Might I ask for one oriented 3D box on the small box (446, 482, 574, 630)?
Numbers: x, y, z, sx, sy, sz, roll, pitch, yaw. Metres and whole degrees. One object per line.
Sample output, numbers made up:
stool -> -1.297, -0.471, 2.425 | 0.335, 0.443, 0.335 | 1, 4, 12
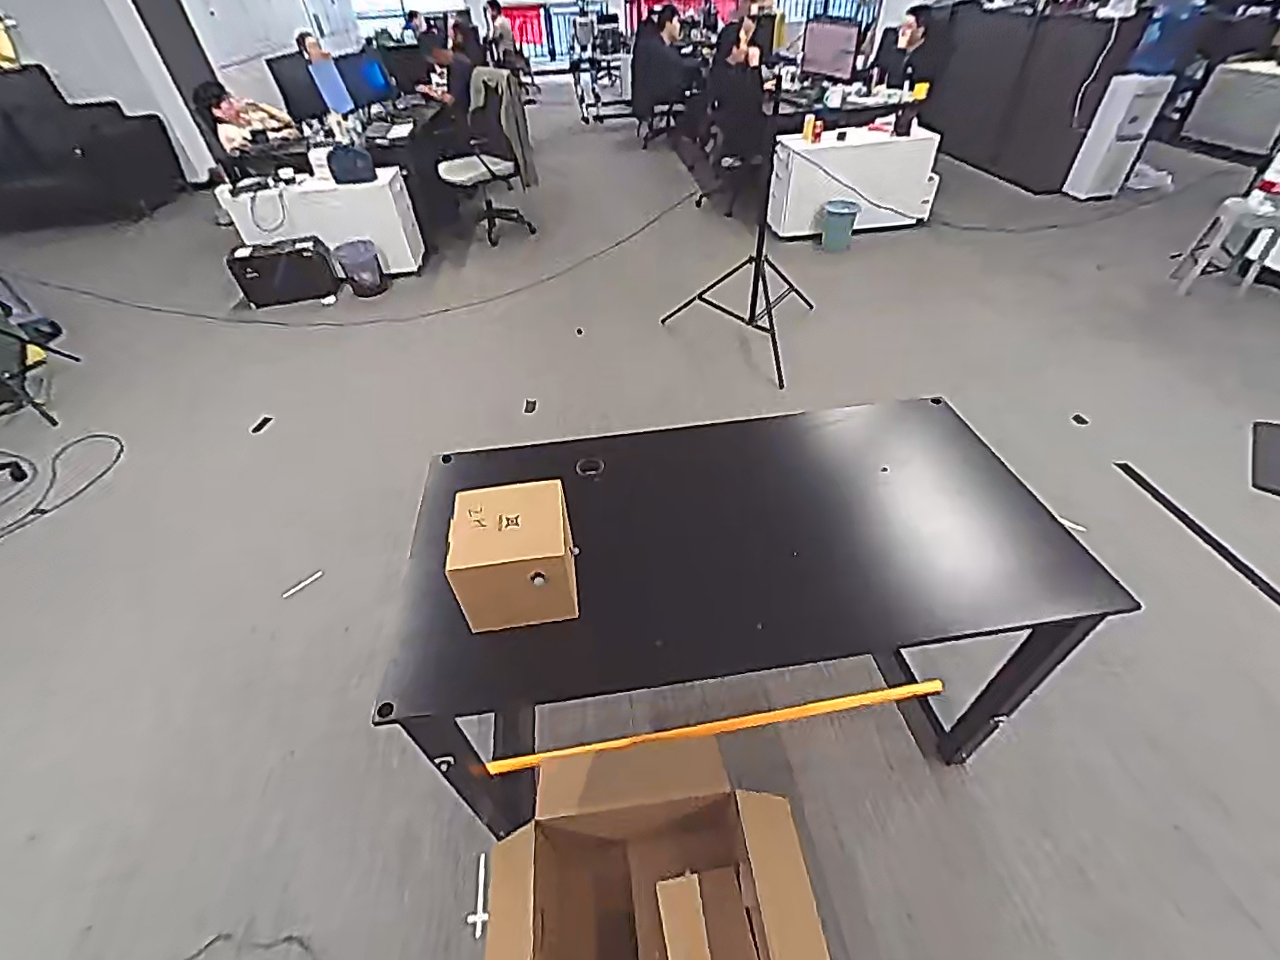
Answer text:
small box -> -0.204, 0.127, 0.899 | 0.179, 0.176, 0.168 | -7, 43, -5
